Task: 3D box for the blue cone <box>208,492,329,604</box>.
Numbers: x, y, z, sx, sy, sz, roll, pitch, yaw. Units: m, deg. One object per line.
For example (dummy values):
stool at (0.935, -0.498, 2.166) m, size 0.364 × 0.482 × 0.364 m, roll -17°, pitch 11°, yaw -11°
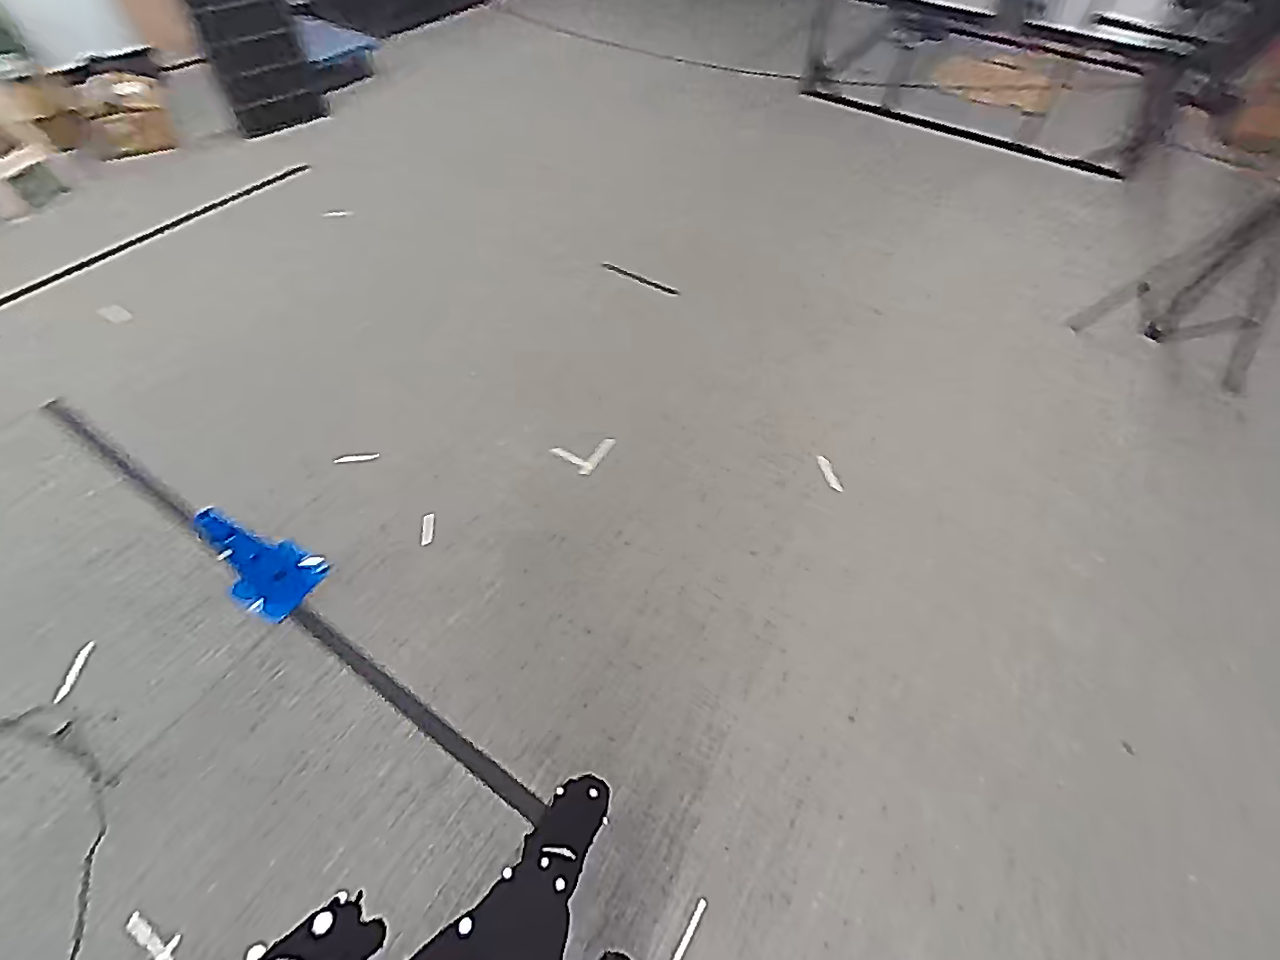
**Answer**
blue cone at (-1.015, 0.157, 1.417) m, size 0.193 × 0.380 × 0.192 m, roll 27°, pitch 57°, yaw 15°
